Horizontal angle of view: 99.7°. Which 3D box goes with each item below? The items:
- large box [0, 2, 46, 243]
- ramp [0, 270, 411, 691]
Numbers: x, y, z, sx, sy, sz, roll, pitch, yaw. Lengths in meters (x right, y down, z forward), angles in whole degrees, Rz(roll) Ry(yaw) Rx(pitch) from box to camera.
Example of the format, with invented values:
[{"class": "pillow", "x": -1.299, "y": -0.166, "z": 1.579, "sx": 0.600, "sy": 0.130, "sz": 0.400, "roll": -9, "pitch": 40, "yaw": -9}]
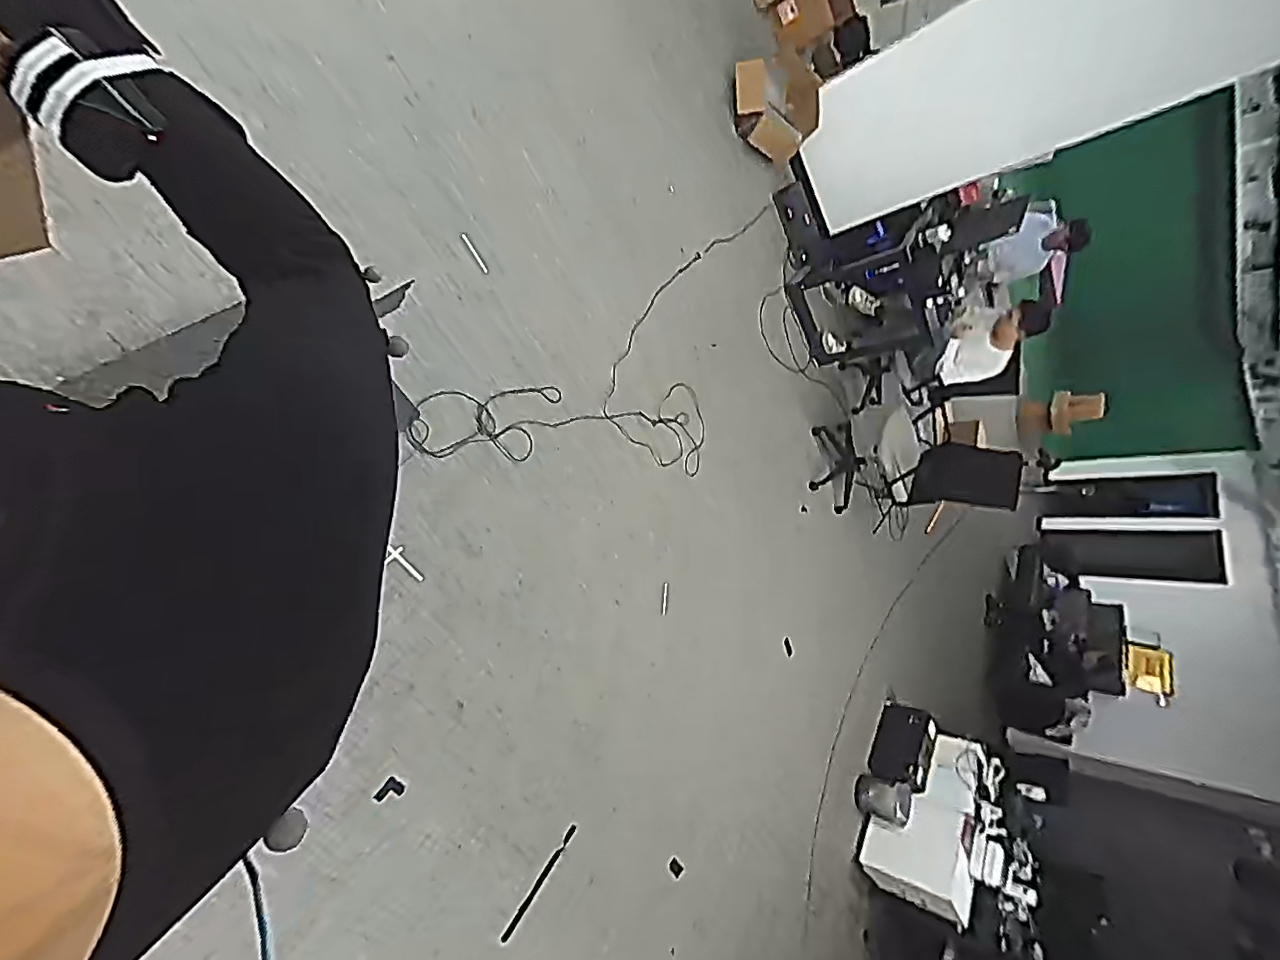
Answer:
[{"class": "large box", "x": -0.662, "y": -0.279, "z": 0.266, "sx": 0.408, "sy": 0.320, "sz": 0.320, "roll": -43, "pitch": 117, "yaw": -39}, {"class": "ramp", "x": -1.026, "y": -0.090, "z": 1.259, "sx": 0.509, "sy": 0.206, "sz": 0.991, "roll": 55, "pitch": 52, "yaw": -26}]
